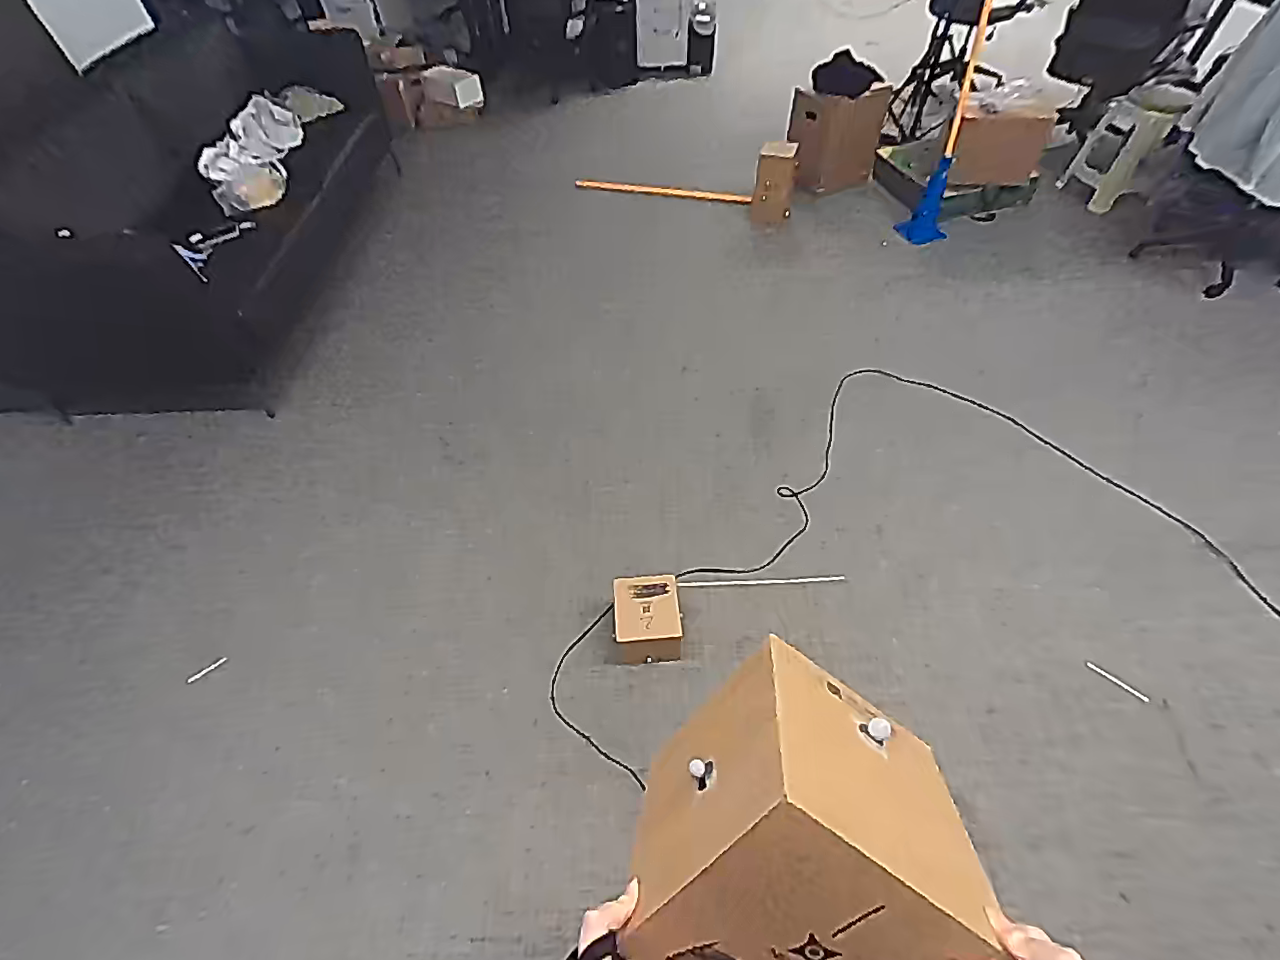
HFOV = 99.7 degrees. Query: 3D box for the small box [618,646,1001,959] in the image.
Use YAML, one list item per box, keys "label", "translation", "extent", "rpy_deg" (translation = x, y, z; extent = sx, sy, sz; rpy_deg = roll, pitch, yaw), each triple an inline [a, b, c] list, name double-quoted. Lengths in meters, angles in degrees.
- label: "small box"
  translation: [0.111, 0.268, 0.409]
  extent: [0.168, 0.179, 0.176]
  rpy_deg: [35, 18, 0]
